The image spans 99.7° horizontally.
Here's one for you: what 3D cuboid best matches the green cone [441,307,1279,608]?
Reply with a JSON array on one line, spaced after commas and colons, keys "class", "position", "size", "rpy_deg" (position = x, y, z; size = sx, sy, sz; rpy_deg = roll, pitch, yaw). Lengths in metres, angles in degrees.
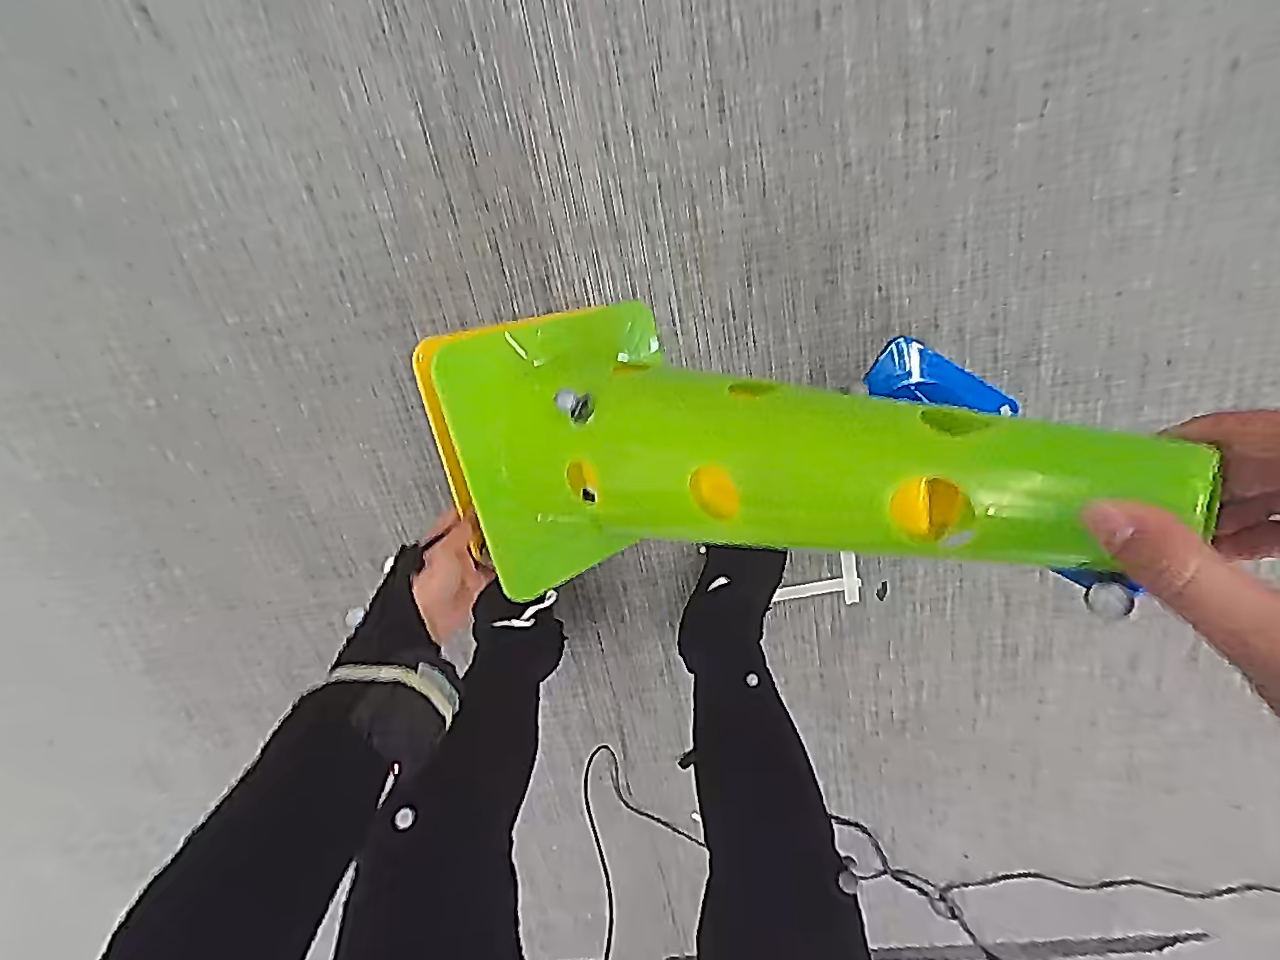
[{"class": "green cone", "position": [0.068, -0.007, 0.291], "size": [0.202, 0.368, 0.200], "rpy_deg": [-26, 110, -32]}]
